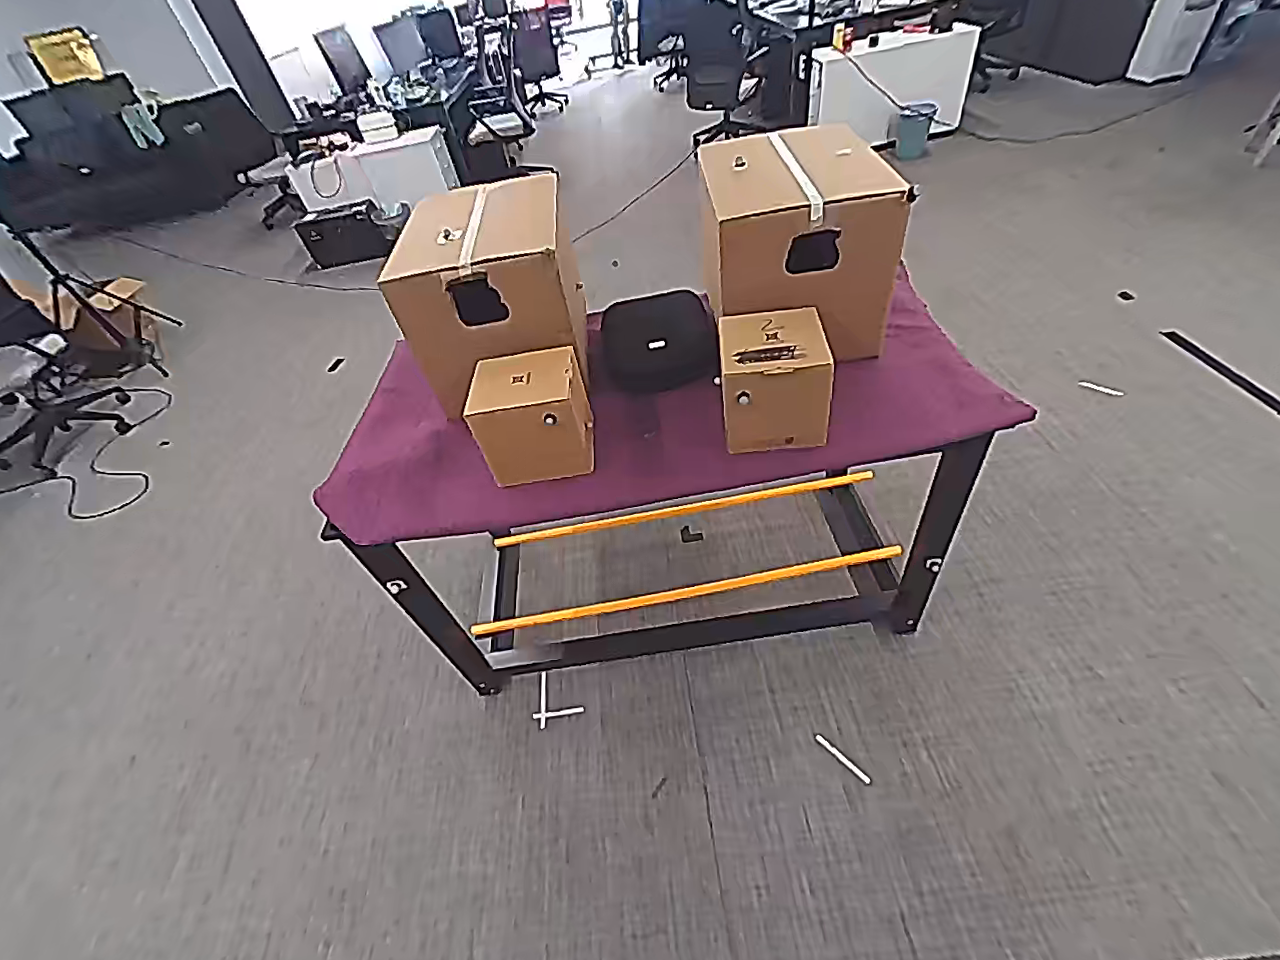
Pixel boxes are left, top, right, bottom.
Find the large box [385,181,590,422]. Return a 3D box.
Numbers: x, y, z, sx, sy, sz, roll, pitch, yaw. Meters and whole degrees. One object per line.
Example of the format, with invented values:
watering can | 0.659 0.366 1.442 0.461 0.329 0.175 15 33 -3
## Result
large box | -0.294 -0.387 1.161 0.320 0.320 0.408 -11 47 2
